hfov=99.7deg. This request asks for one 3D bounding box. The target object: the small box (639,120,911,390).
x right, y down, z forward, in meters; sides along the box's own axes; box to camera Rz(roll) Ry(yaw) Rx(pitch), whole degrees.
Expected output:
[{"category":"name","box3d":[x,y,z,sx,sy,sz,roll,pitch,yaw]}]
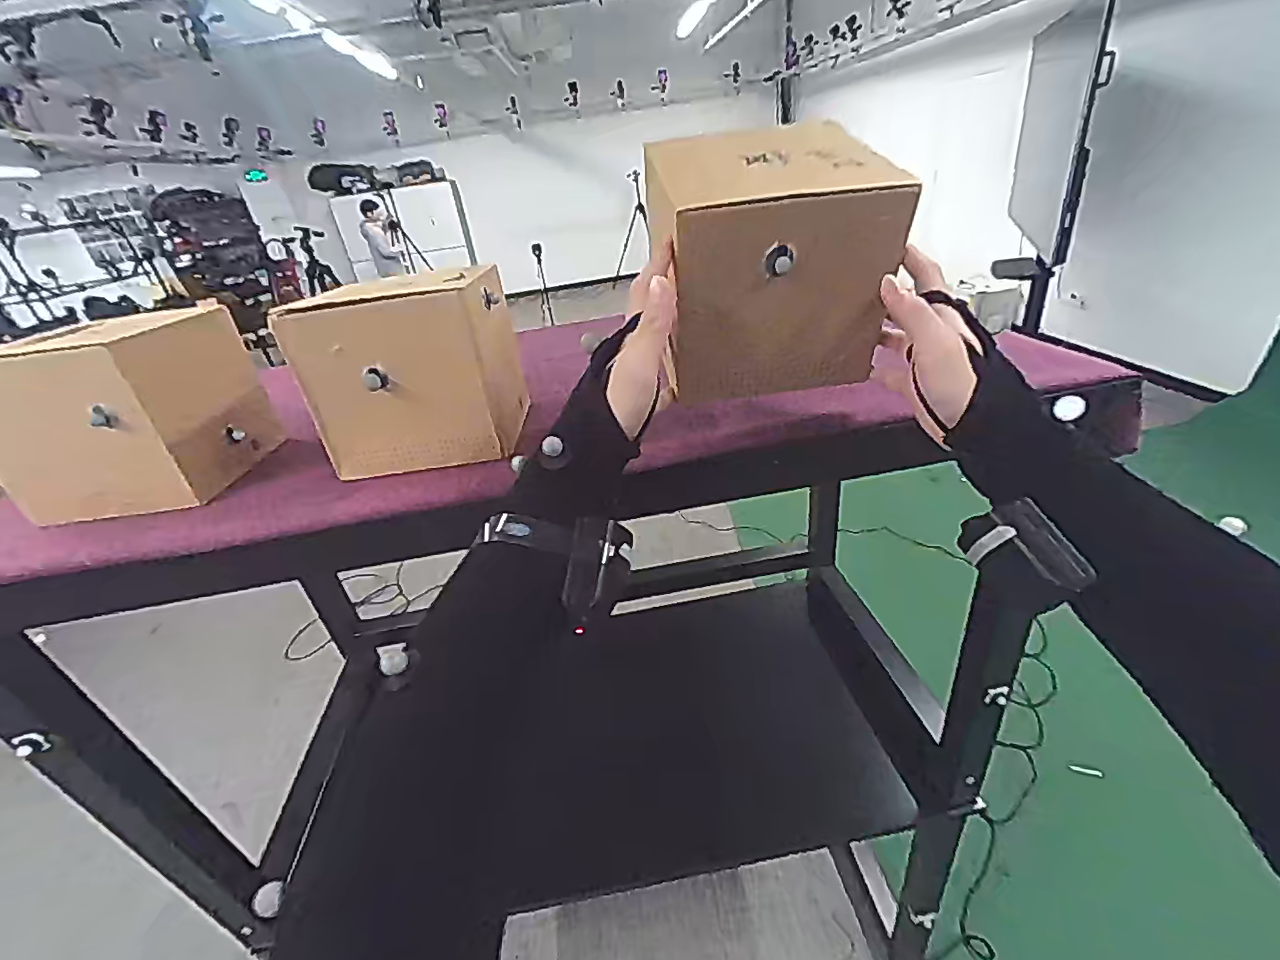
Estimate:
[{"category":"small box","box3d":[0.099,-0.195,0.479,0.179,0.176,0.168,-7,46,-2]}]

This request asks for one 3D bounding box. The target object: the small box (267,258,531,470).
[{"category":"small box","box3d":[-0.229,-0.124,0.569,0.179,0.176,0.168,-9,29,2]}]
